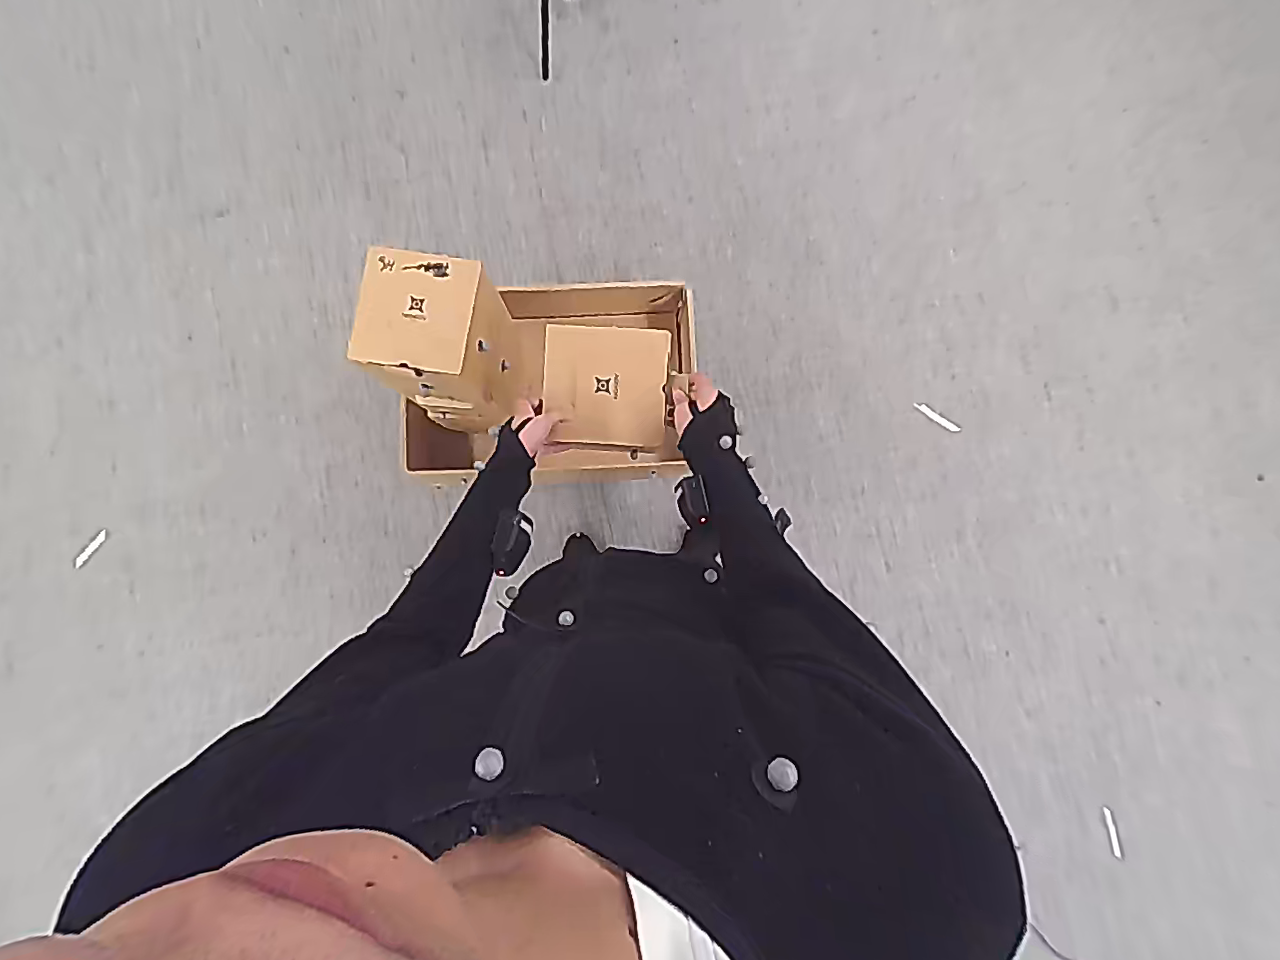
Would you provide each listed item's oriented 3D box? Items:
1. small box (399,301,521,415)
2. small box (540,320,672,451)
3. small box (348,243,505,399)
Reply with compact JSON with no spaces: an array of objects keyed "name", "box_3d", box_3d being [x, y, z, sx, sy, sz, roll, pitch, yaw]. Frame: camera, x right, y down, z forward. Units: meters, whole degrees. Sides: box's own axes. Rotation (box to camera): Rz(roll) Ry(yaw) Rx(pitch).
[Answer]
[{"name":"small box","box_3d":[-0.326,-0.226,1.013,0.168,0.176,0.179,5,83,-1]},{"name":"small box","box_3d":[-0.048,-0.135,0.828,0.179,0.176,0.168,3,89,0]},{"name":"small box","box_3d":[-0.321,-0.237,0.849,0.168,0.176,0.179,9,84,0]}]
